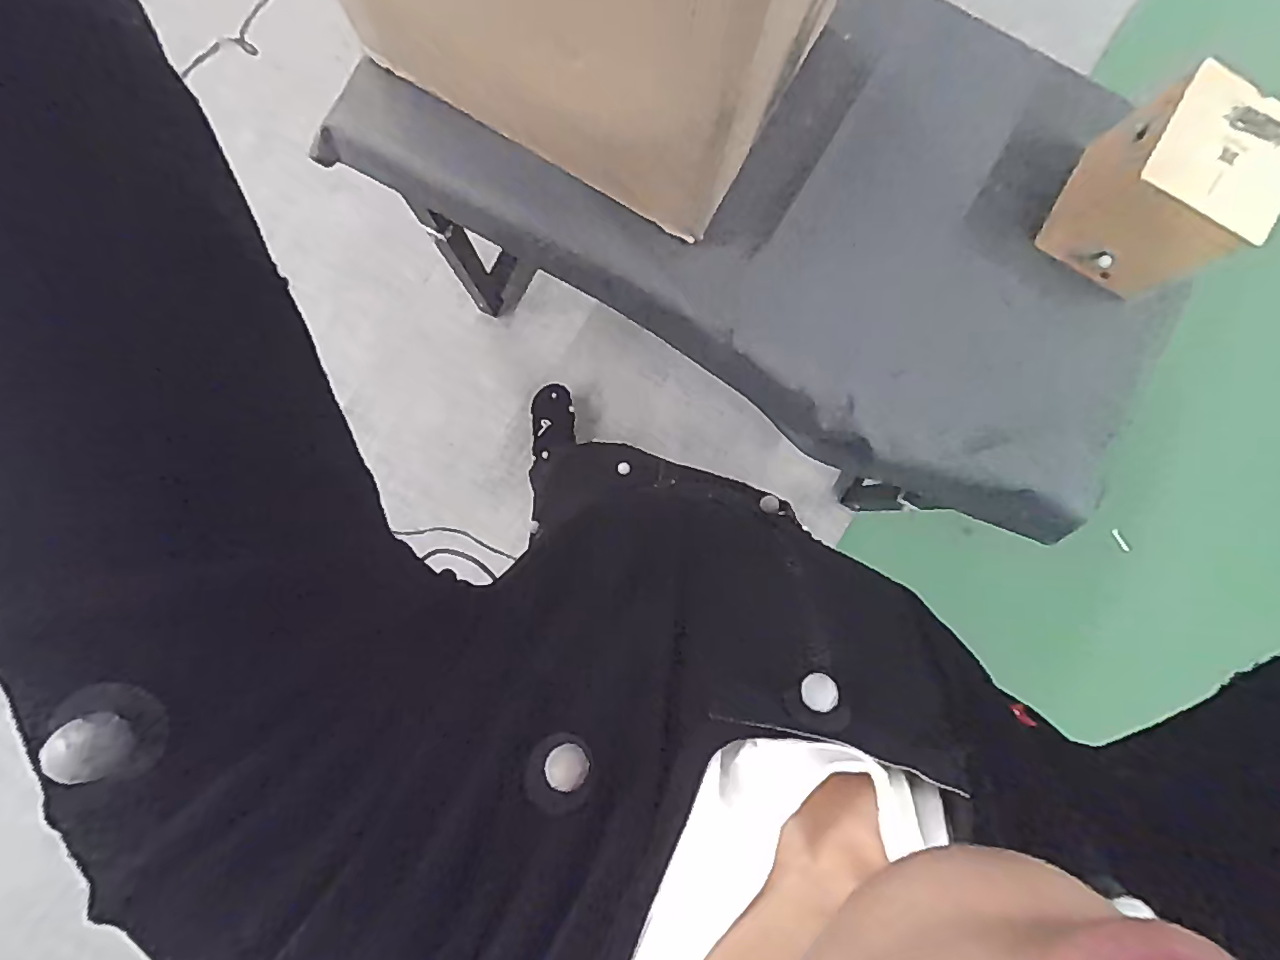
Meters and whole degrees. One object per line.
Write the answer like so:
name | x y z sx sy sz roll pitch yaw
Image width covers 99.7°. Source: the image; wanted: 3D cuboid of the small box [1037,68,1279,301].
small box | 0.690 -0.378 0.724 0.168 0.176 0.179 31 86 0
